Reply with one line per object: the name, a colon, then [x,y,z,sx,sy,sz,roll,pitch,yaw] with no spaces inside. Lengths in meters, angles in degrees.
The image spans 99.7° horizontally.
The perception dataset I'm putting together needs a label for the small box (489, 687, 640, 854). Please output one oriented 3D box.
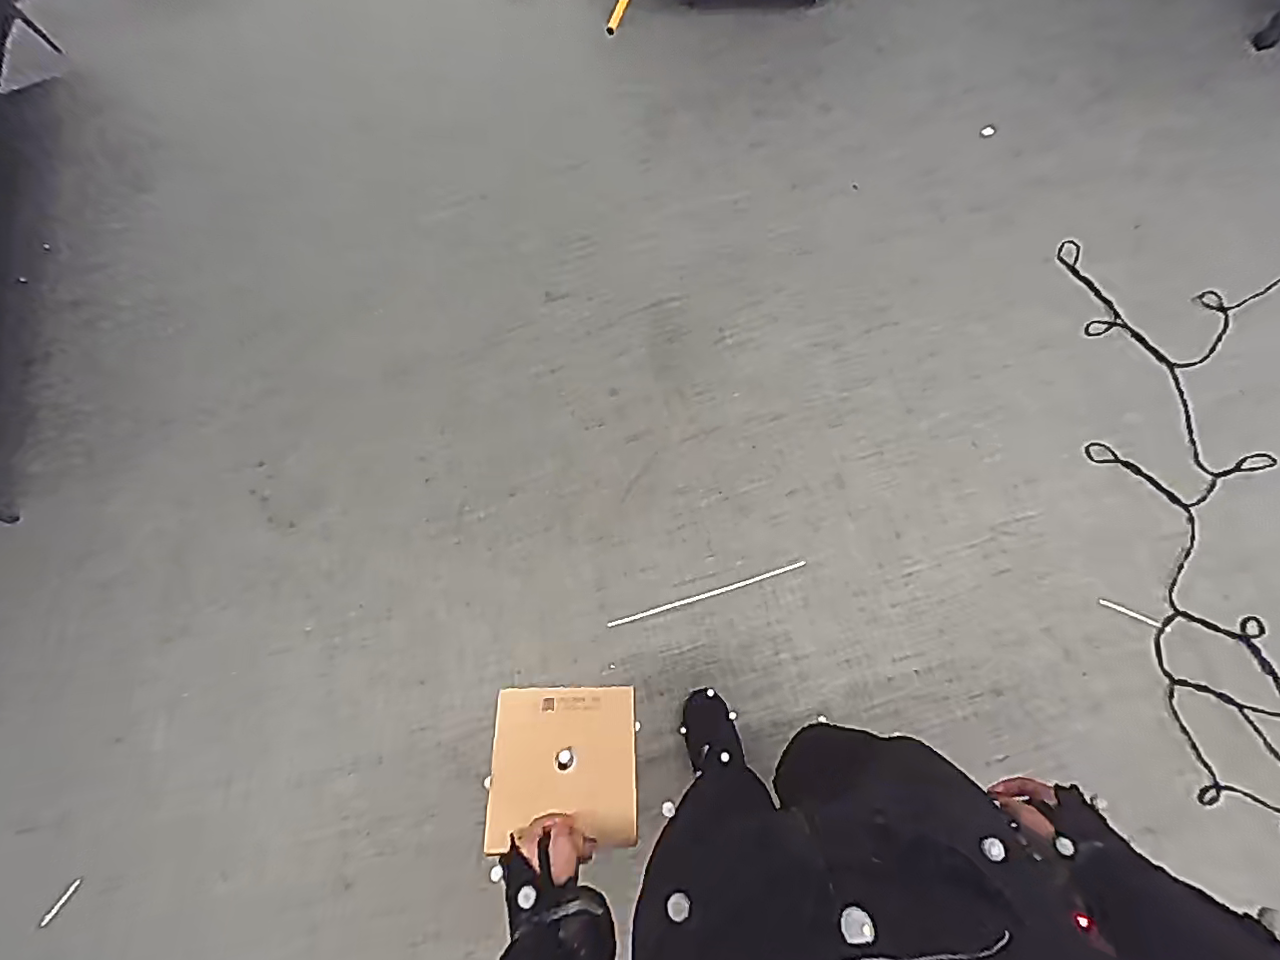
small box: [-0.097,0.364,0.691,0.168,0.179,0.176,1,59,-8]
